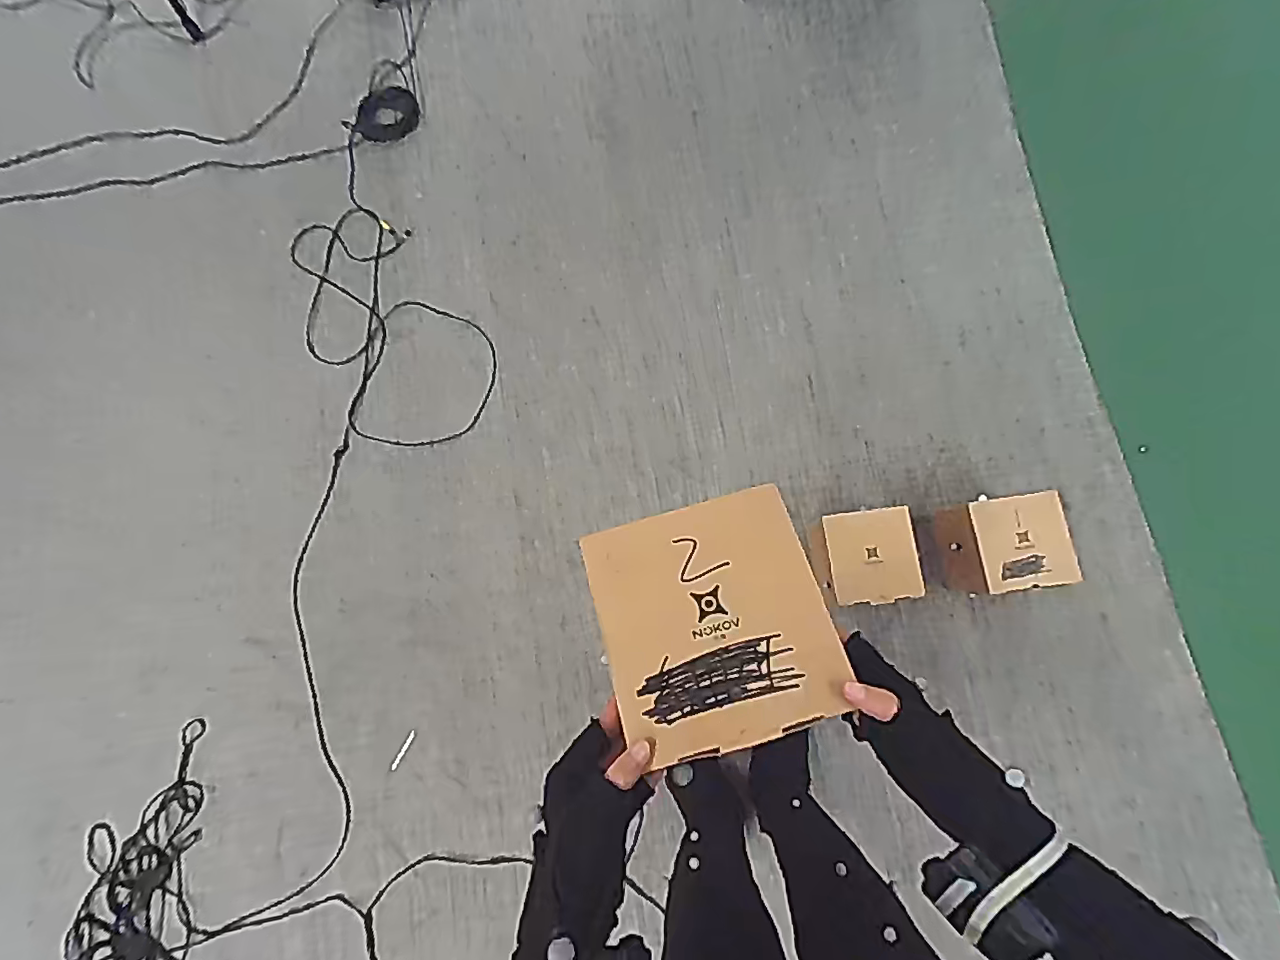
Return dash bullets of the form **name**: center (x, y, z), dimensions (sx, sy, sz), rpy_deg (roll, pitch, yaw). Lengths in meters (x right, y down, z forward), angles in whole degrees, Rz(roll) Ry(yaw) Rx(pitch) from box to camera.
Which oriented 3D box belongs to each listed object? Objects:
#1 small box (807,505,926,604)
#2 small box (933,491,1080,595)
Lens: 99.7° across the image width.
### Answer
- **small box**: center (0.450, 0.156, 1.105), dimensions (0.168, 0.176, 0.179), rpy_deg (-8, 80, 4)
- **small box**: center (0.717, 0.129, 1.080), dimensions (0.168, 0.176, 0.179), rpy_deg (-8, 79, 5)
